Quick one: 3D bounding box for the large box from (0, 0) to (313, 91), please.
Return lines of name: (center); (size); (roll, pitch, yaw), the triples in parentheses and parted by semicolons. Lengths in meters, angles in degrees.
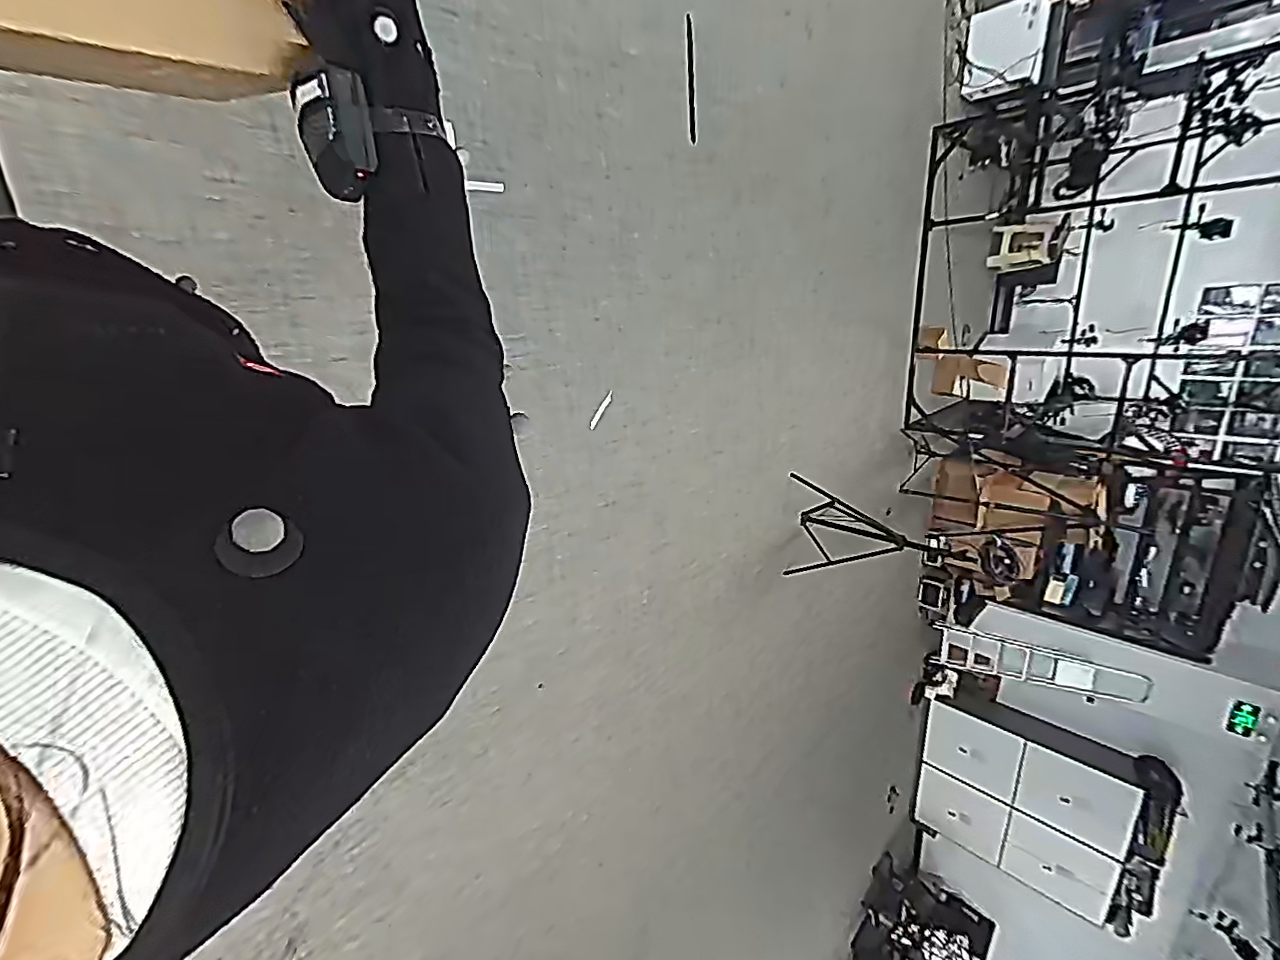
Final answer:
large box: (-0.453, -0.410, 0.258); (0.408, 0.320, 0.320); (-21, 129, -40)
